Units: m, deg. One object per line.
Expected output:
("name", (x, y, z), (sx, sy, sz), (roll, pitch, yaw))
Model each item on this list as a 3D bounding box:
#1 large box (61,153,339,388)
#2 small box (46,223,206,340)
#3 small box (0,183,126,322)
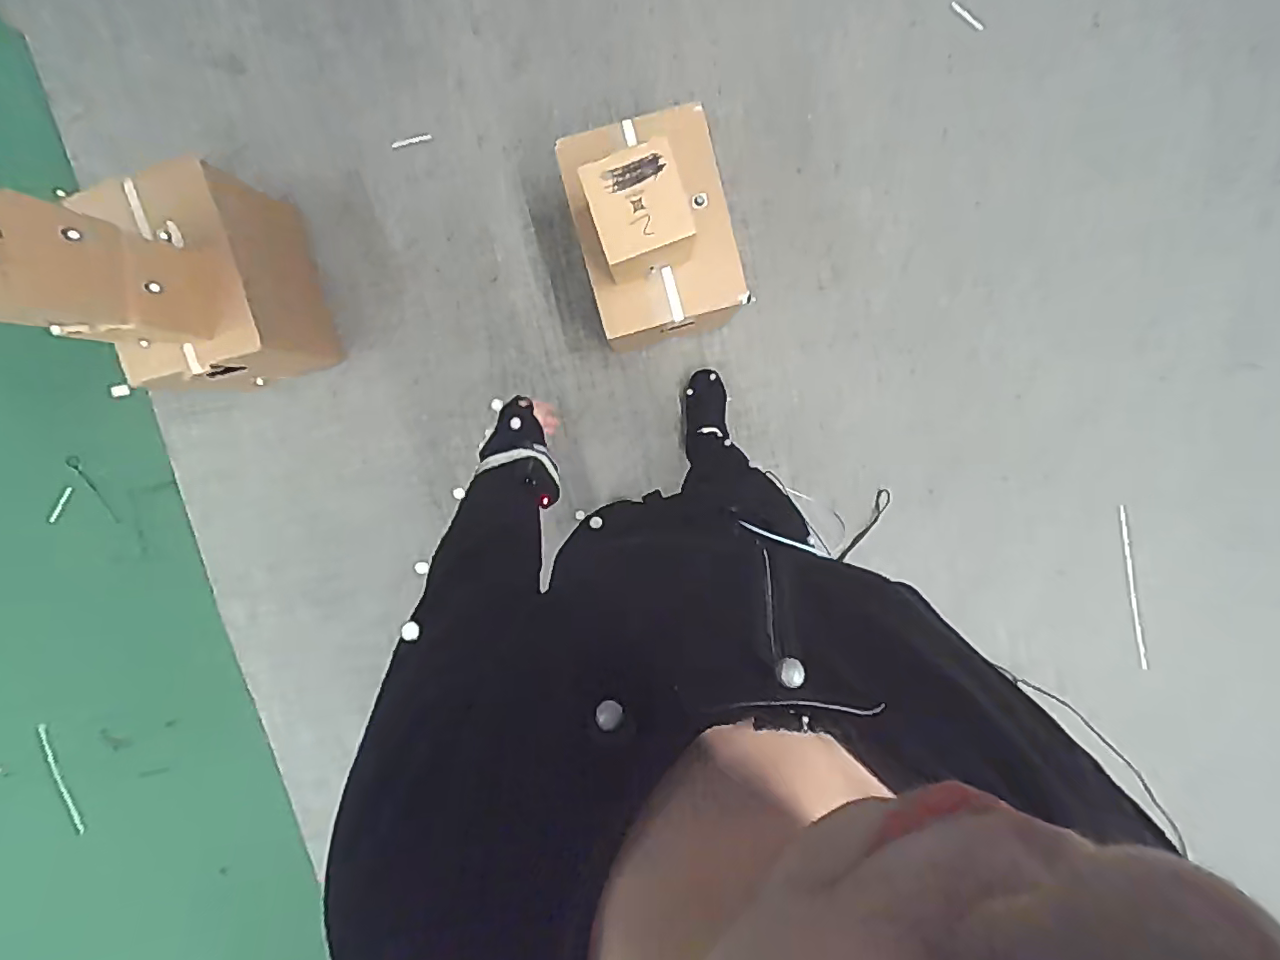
("large box", (-0.996, -0.457, 1.277), (0.320, 0.320, 0.408), (-14, 96, 3))
("small box", (-0.993, -0.374, 1.043), (0.168, 0.176, 0.179), (-4, 98, 2))
("small box", (-1.002, -0.360, 0.881), (0.168, 0.176, 0.179), (0, 99, 2))
